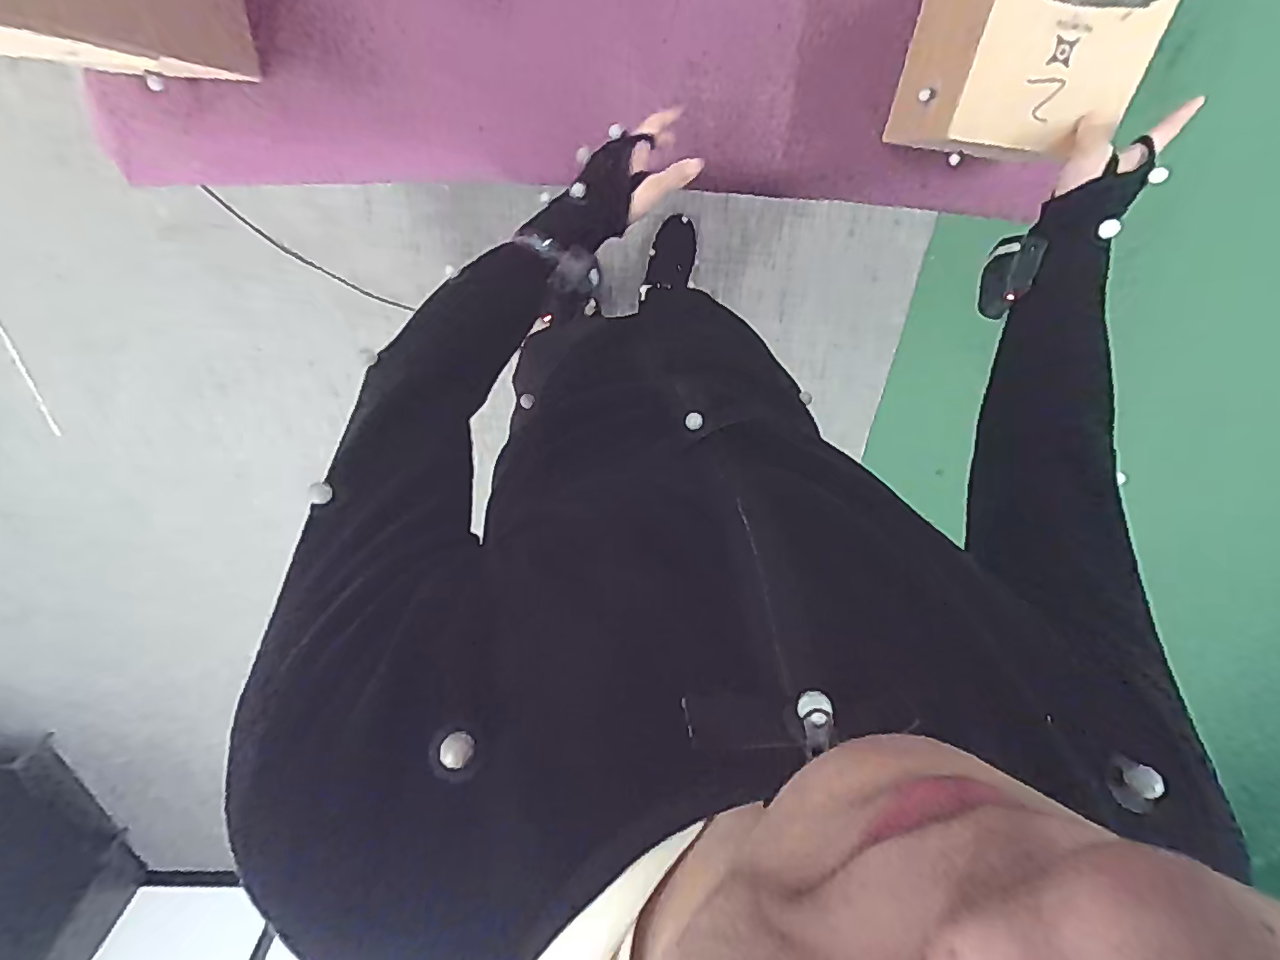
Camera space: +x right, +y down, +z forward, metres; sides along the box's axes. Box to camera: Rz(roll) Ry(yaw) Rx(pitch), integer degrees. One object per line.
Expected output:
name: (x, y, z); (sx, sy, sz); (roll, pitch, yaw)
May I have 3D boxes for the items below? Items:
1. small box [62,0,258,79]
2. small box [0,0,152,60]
small box: (-0.517, -0.511, 0.519); (0.168, 0.176, 0.179); (2, 120, -2)
small box: (-0.512, -0.423, 0.384); (0.168, 0.176, 0.179); (3, 119, -1)
